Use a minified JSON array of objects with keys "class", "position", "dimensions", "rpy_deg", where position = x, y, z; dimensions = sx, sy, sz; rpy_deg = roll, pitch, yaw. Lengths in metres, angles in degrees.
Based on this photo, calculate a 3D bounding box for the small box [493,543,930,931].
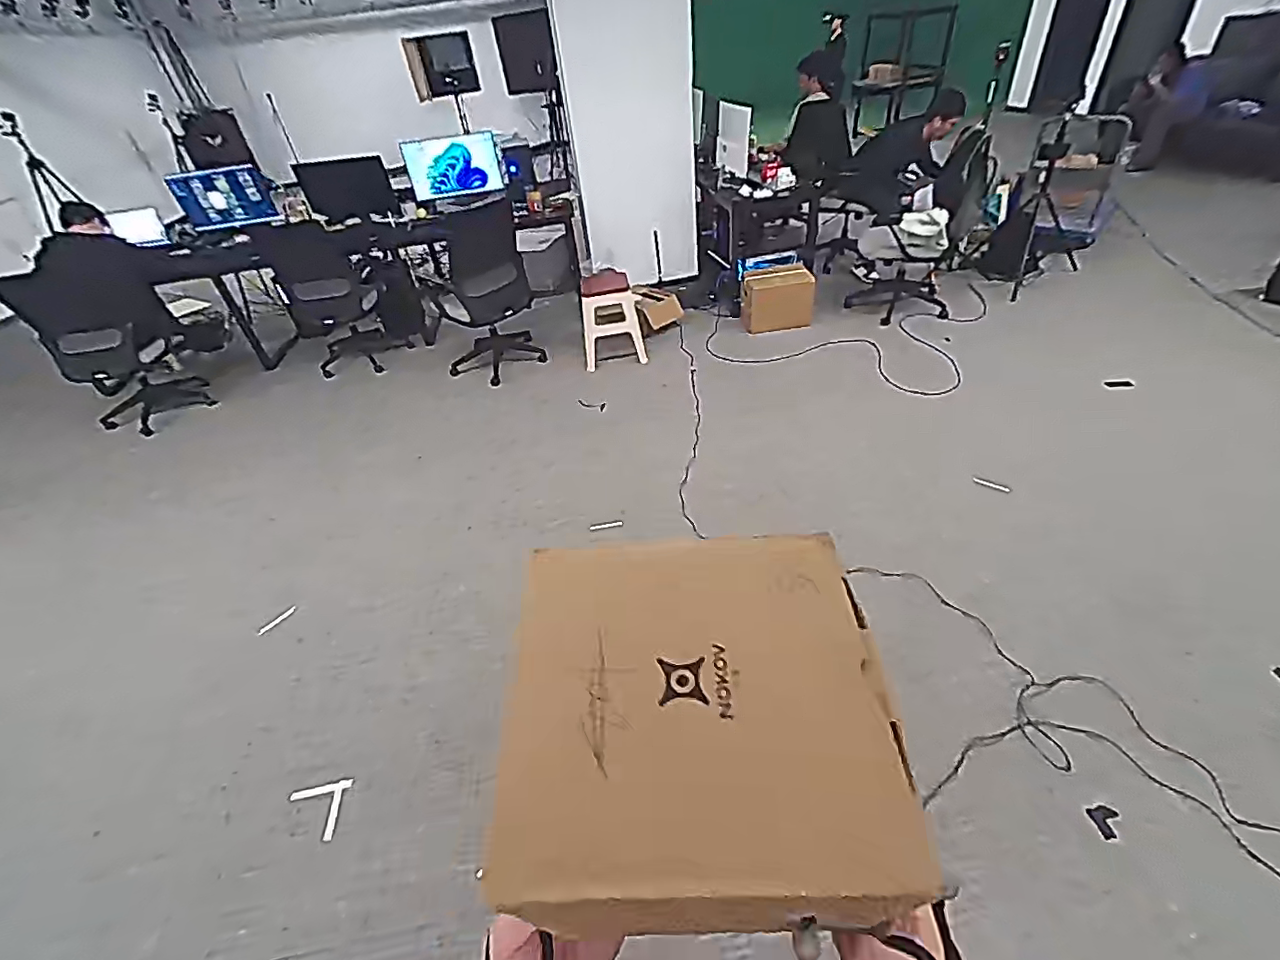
[{"class":"small box","position":[0.031,0.156,0.323],"dimensions":[0.179,0.176,0.168],"rpy_deg":[-4,47,2]}]
